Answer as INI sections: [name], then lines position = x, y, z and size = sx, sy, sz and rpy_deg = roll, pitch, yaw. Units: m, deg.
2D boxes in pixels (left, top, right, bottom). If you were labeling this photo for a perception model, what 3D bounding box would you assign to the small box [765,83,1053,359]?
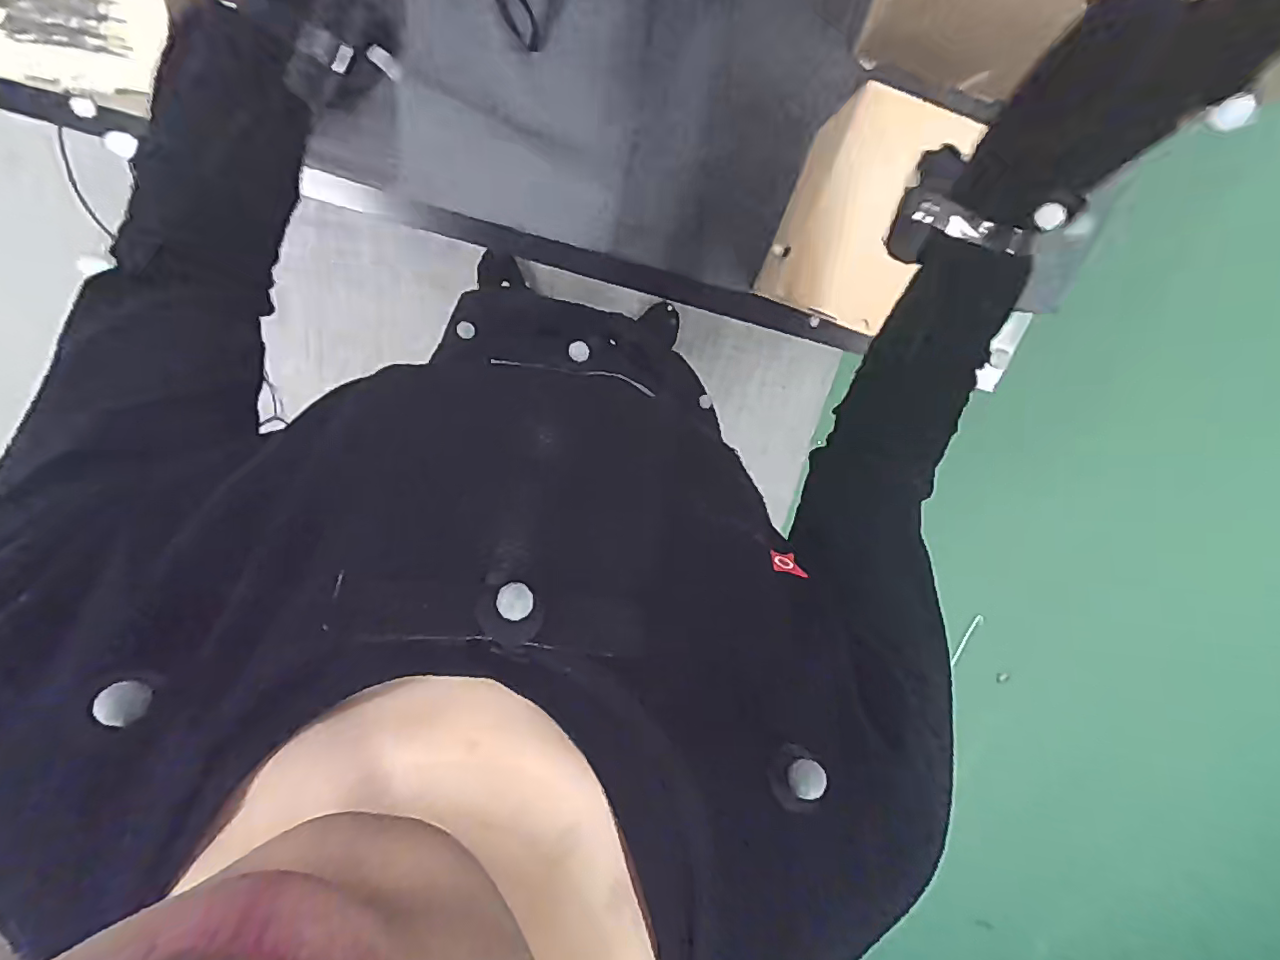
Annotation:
[small box]
position = 0.237, -0.243, 0.537
size = 0.168, 0.176, 0.179
rpy_deg = 19, 113, -4
